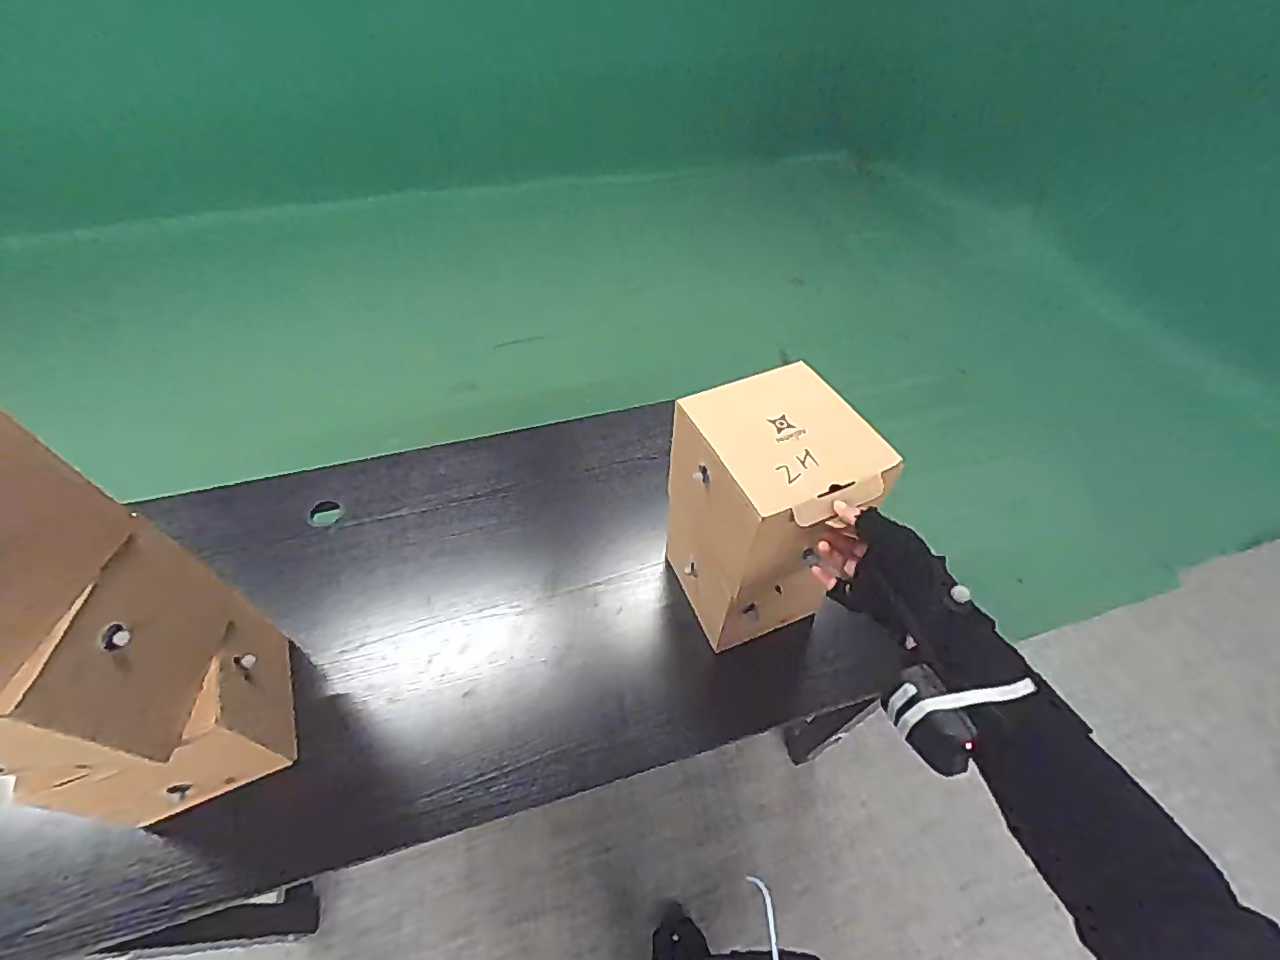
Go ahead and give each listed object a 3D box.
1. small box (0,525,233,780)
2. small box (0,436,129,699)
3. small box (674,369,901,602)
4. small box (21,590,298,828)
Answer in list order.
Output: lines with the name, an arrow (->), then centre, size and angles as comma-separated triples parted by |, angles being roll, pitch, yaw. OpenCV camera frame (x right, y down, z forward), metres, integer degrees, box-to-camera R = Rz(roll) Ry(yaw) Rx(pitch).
small box -> -0.518, 0.160, 0.486 | 0.168, 0.176, 0.179 | -2, 51, -4
small box -> -0.519, 0.053, 0.361 | 0.168, 0.176, 0.179 | 7, 53, 3
small box -> 0.148, 0.007, 0.618 | 0.168, 0.176, 0.179 | -19, 54, -15
small box -> -0.519, 0.261, 0.616 | 0.168, 0.176, 0.179 | -19, 55, -16
